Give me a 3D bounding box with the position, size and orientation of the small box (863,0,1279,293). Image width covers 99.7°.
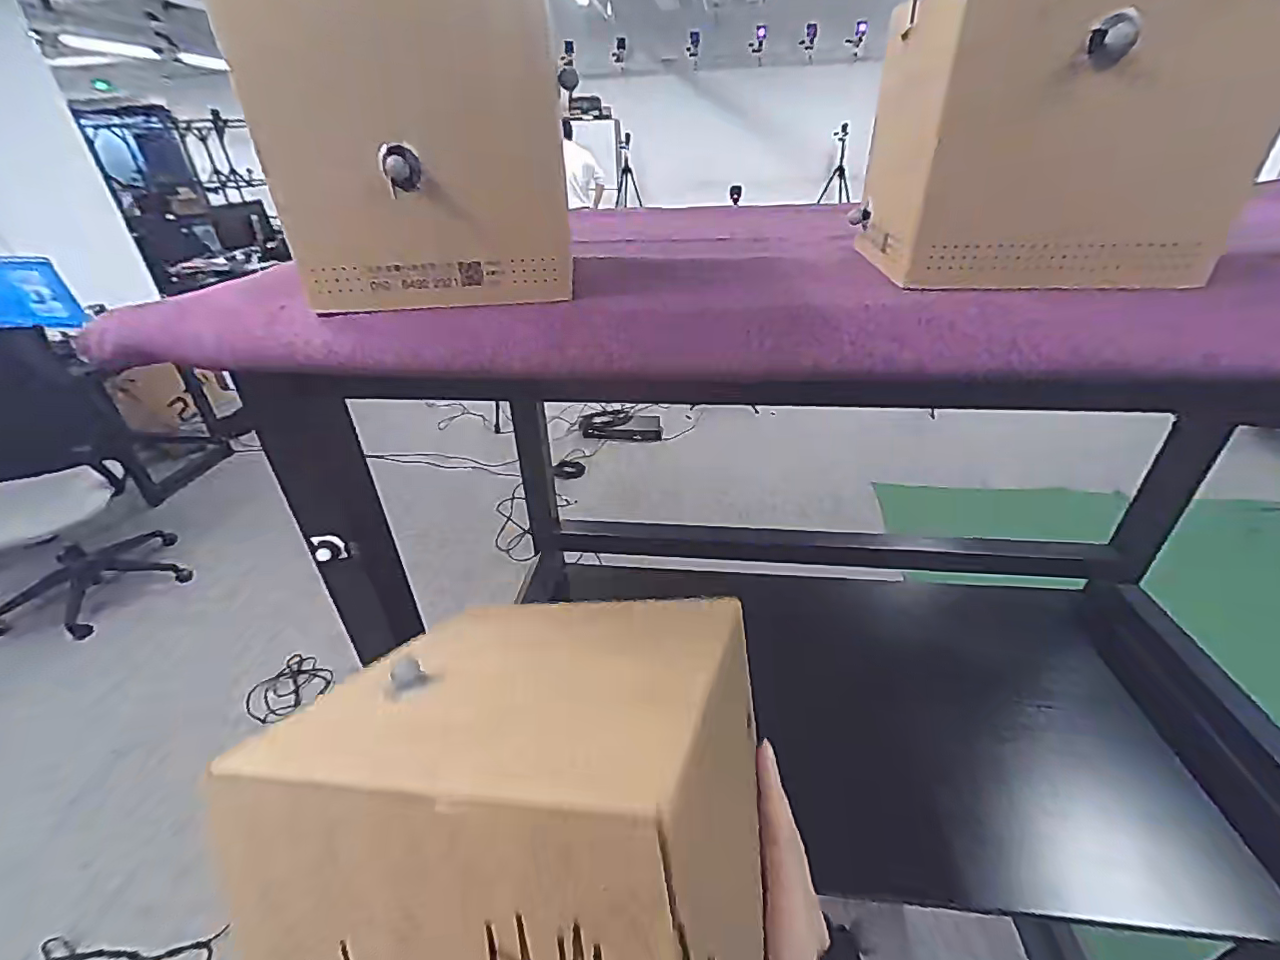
[{"bbox_3d":[0.262,-0.229,0.365,0.179,0.176,0.168,3,33,7],"label":"small box"}]

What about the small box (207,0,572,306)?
[{"bbox_3d":[-0.135,-0.223,0.376,0.168,0.176,0.179,-3,33,-5],"label":"small box"}]
